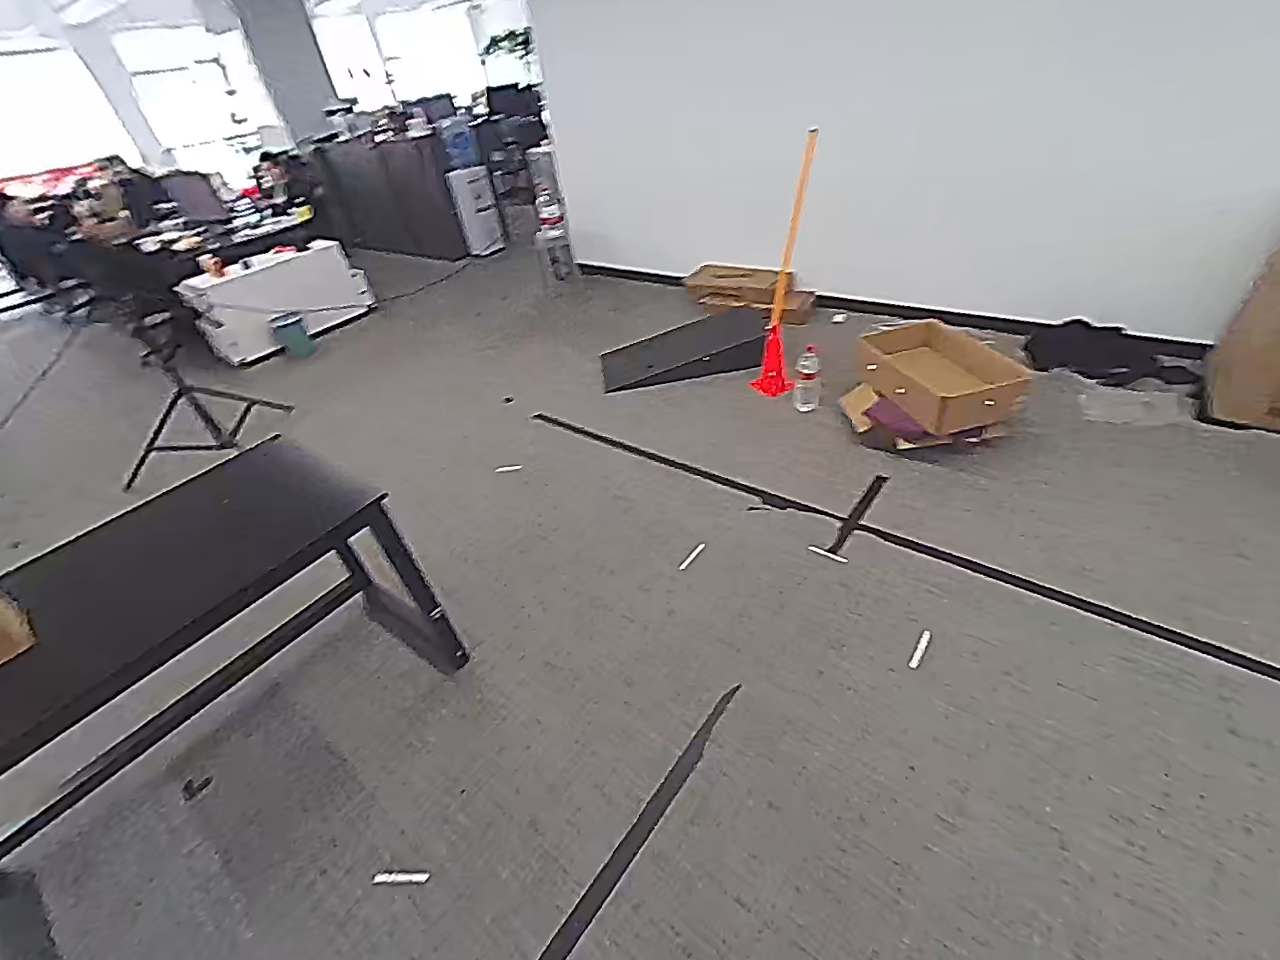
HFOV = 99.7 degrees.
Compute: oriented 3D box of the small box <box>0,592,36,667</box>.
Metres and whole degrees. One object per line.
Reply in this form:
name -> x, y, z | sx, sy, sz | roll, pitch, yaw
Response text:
small box -> -1.350, 0.291, 1.048 | 0.179, 0.176, 0.168 | 21, 47, 31
